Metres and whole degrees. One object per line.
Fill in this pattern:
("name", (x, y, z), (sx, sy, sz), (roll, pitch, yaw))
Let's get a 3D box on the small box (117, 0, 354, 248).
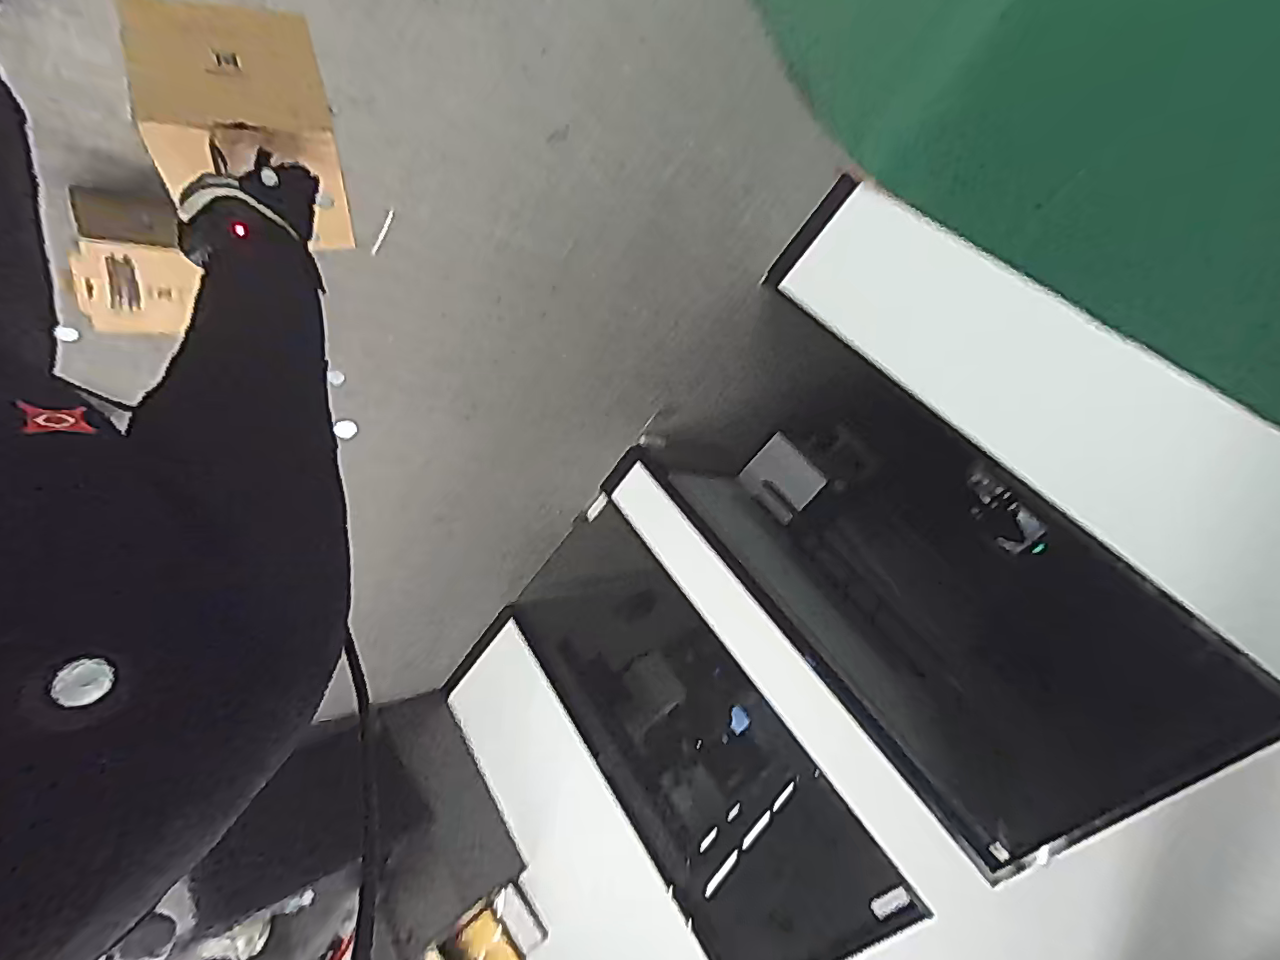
("small box", (-0.434, -0.382, 0.606), (0.168, 0.179, 0.176), (-12, 164, -24))
